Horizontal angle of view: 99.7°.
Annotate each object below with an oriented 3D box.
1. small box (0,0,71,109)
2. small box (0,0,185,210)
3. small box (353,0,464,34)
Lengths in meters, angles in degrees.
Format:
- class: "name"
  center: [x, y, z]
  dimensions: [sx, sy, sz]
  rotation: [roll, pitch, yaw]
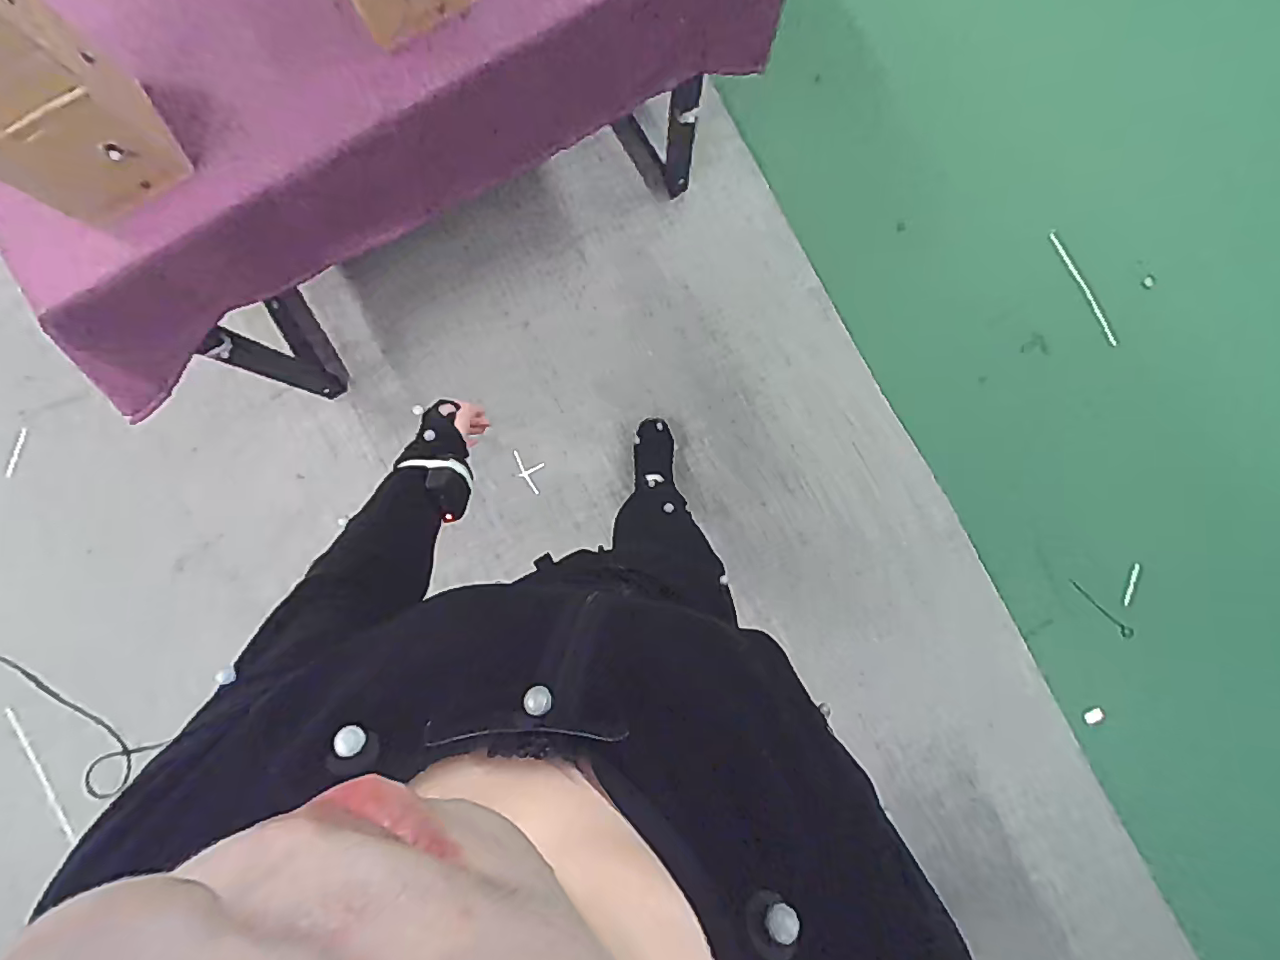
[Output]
- class: "small box"
  center: [-0.764, -0.496, 0.545]
  dimensions: [0.179, 0.176, 0.168]
  rotation: [-34, 88, -4]
- class: "small box"
  center: [-0.763, -0.490, 0.707]
  dimensions: [0.168, 0.176, 0.179]
  rotation: [-32, 88, -3]
- class: "small box"
  center: [-0.353, -0.757, 0.725]
  dimensions: [0.168, 0.176, 0.179]
  rotation: [-31, 89, -2]
